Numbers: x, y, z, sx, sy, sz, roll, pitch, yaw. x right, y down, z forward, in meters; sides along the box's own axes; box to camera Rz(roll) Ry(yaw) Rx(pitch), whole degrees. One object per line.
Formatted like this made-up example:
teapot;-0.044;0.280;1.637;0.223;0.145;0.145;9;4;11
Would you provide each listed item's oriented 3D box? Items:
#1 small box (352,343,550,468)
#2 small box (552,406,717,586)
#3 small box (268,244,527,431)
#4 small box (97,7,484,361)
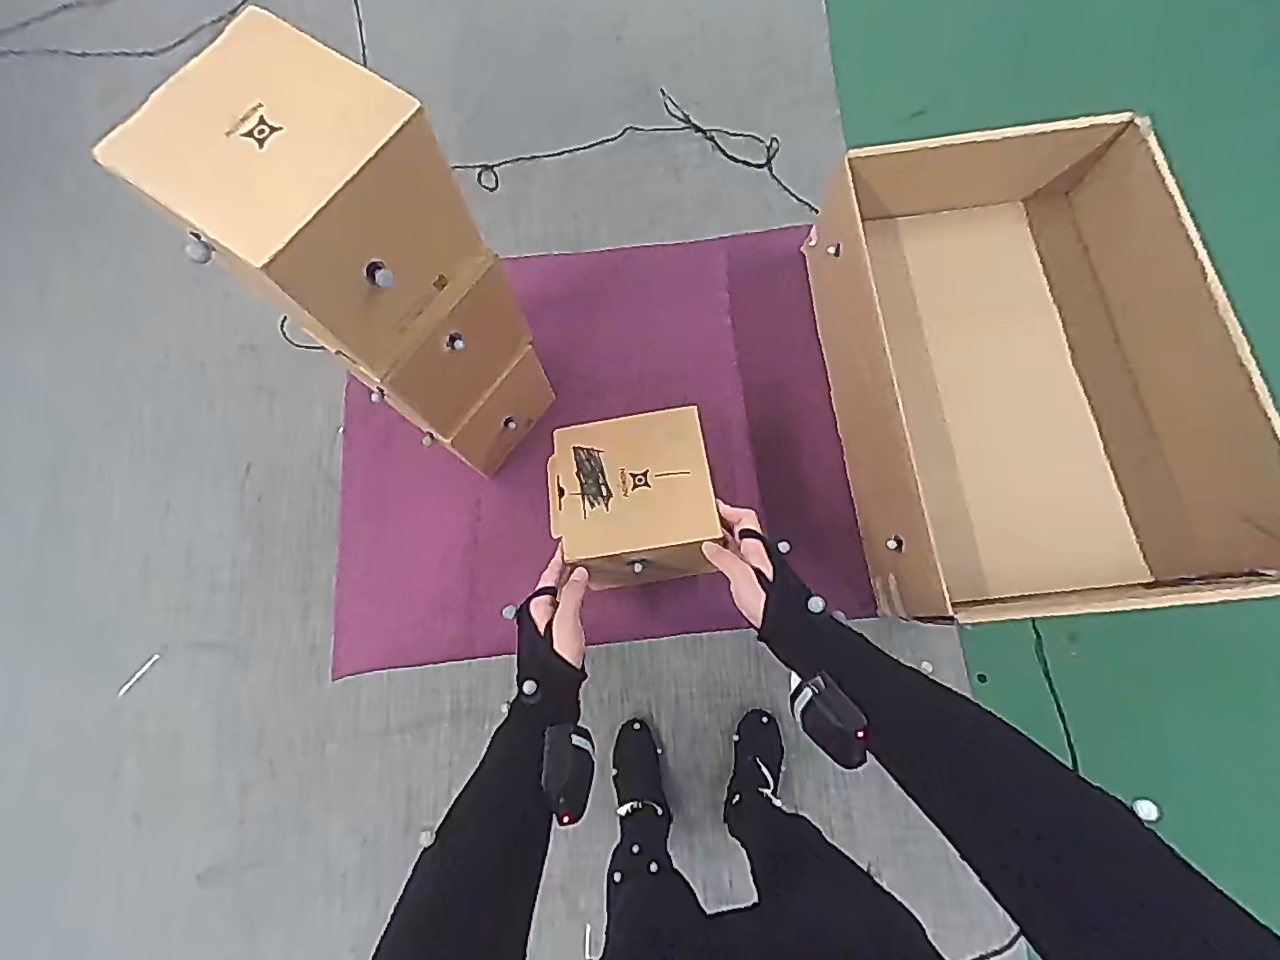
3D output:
small box;-0.251;-0.135;0.768;0.179;0.176;0.168;36;78;11
small box;-0.001;0.030;0.685;0.179;0.176;0.168;-9;68;3
small box;-0.252;-0.183;0.612;0.168;0.176;0.179;36;79;10
small box;-0.263;-0.226;0.457;0.179;0.176;0.168;34;79;10
